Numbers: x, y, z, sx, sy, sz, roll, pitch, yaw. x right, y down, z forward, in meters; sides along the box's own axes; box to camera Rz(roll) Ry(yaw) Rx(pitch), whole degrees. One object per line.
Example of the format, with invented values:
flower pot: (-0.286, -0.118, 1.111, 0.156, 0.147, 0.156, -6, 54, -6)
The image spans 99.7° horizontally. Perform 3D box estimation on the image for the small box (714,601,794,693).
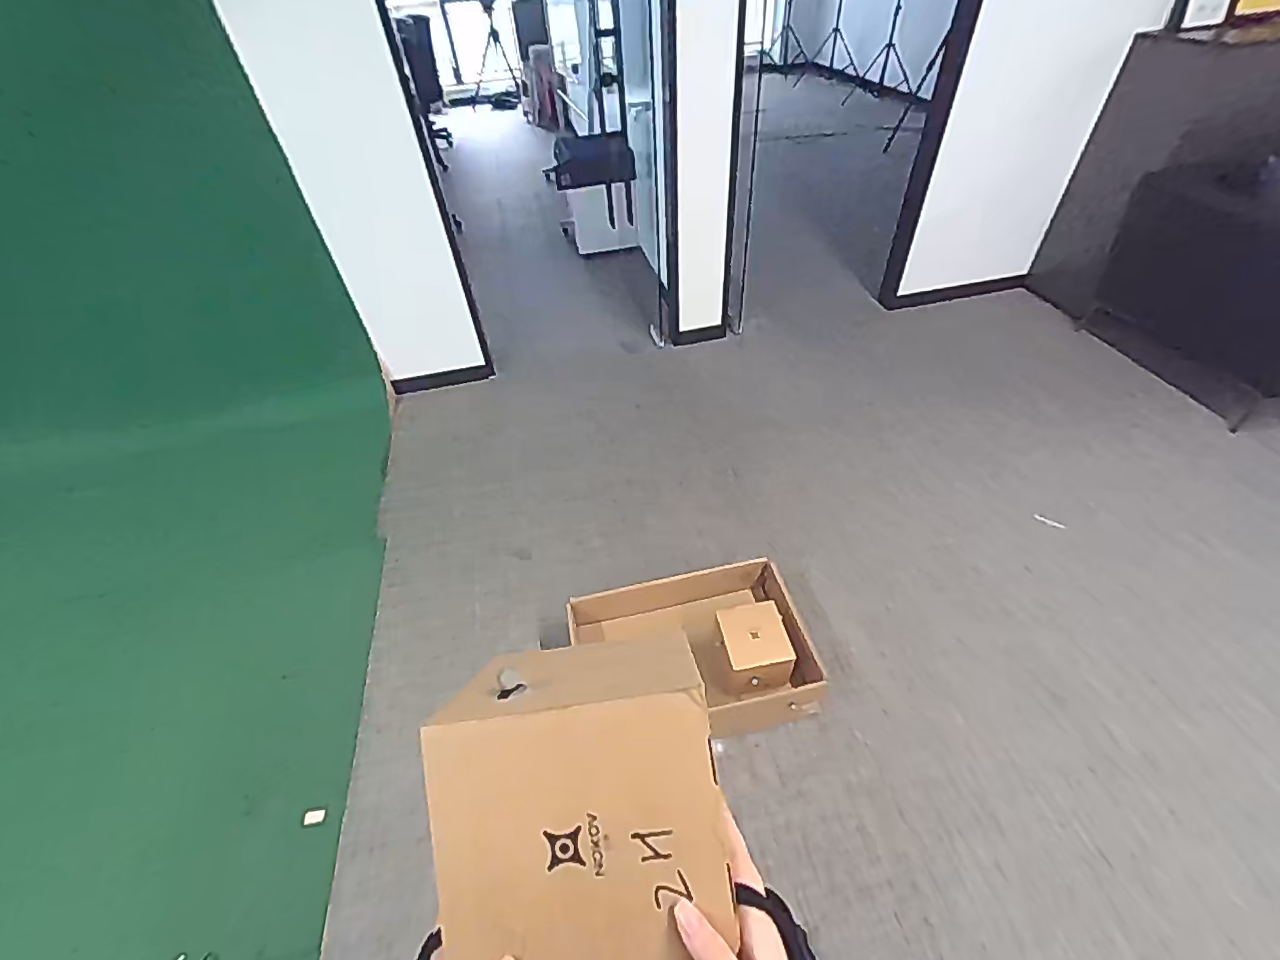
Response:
small box: (0.302, 0.456, 1.462, 0.168, 0.176, 0.179, -9, 45, -4)

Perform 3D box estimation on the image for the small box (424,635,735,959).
small box: (-0.037, 0.223, 0.405, 0.179, 0.176, 0.168, -8, 86, 0)
